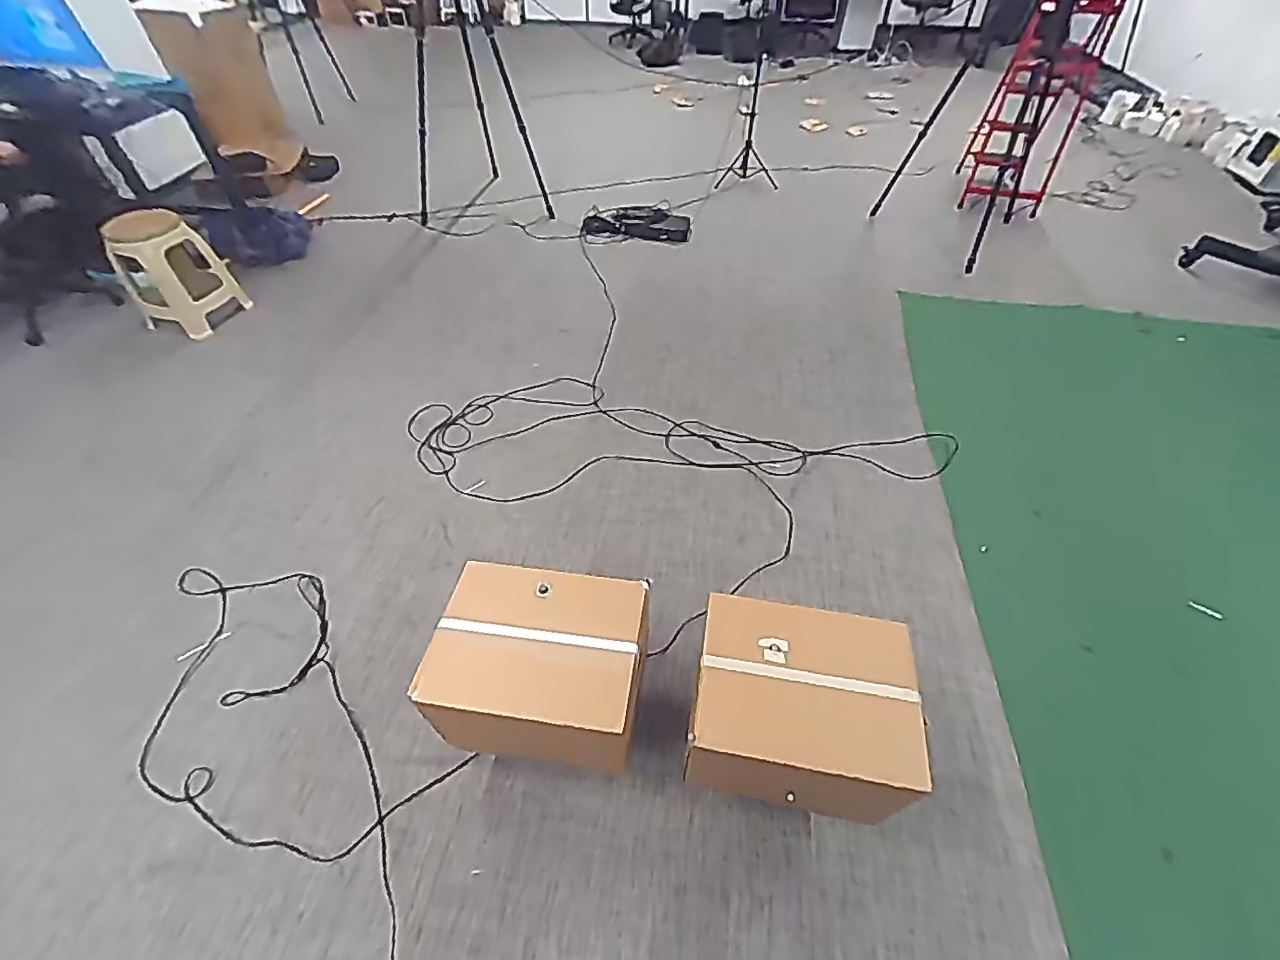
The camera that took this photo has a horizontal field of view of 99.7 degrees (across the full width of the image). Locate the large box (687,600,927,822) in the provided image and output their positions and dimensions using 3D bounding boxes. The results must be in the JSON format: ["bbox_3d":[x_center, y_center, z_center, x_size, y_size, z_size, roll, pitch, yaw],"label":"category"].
[{"bbox_3d":[0.323,0.491,1.146,0.408,0.320,0.320,8,48,8],"label":"large box"}]
